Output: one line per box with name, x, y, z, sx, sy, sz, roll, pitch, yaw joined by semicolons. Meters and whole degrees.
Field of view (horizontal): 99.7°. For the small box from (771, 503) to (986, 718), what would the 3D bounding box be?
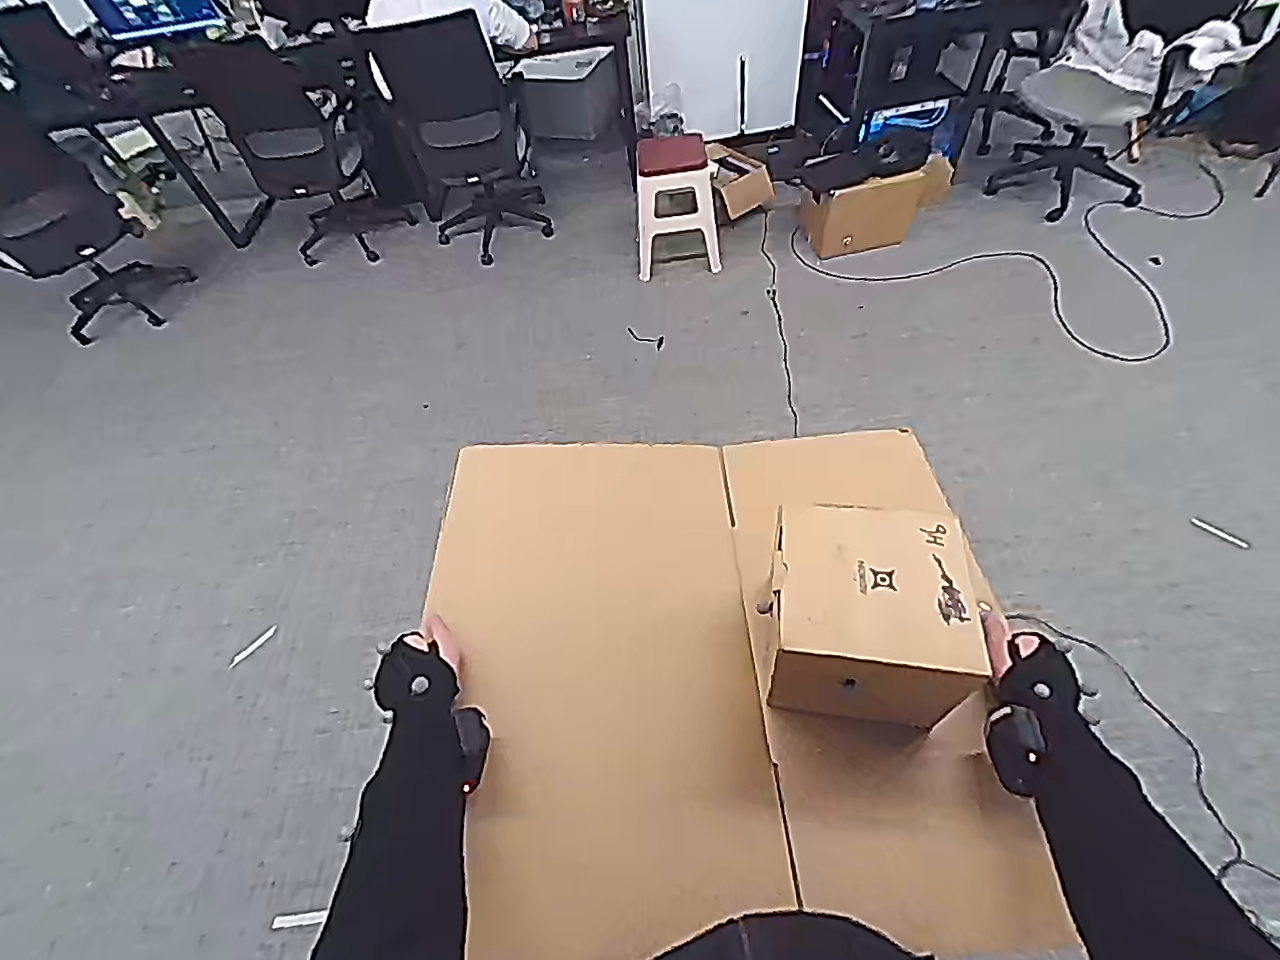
small box;0.235;0.143;0.584;0.179;0.176;0.168;3;52;12
